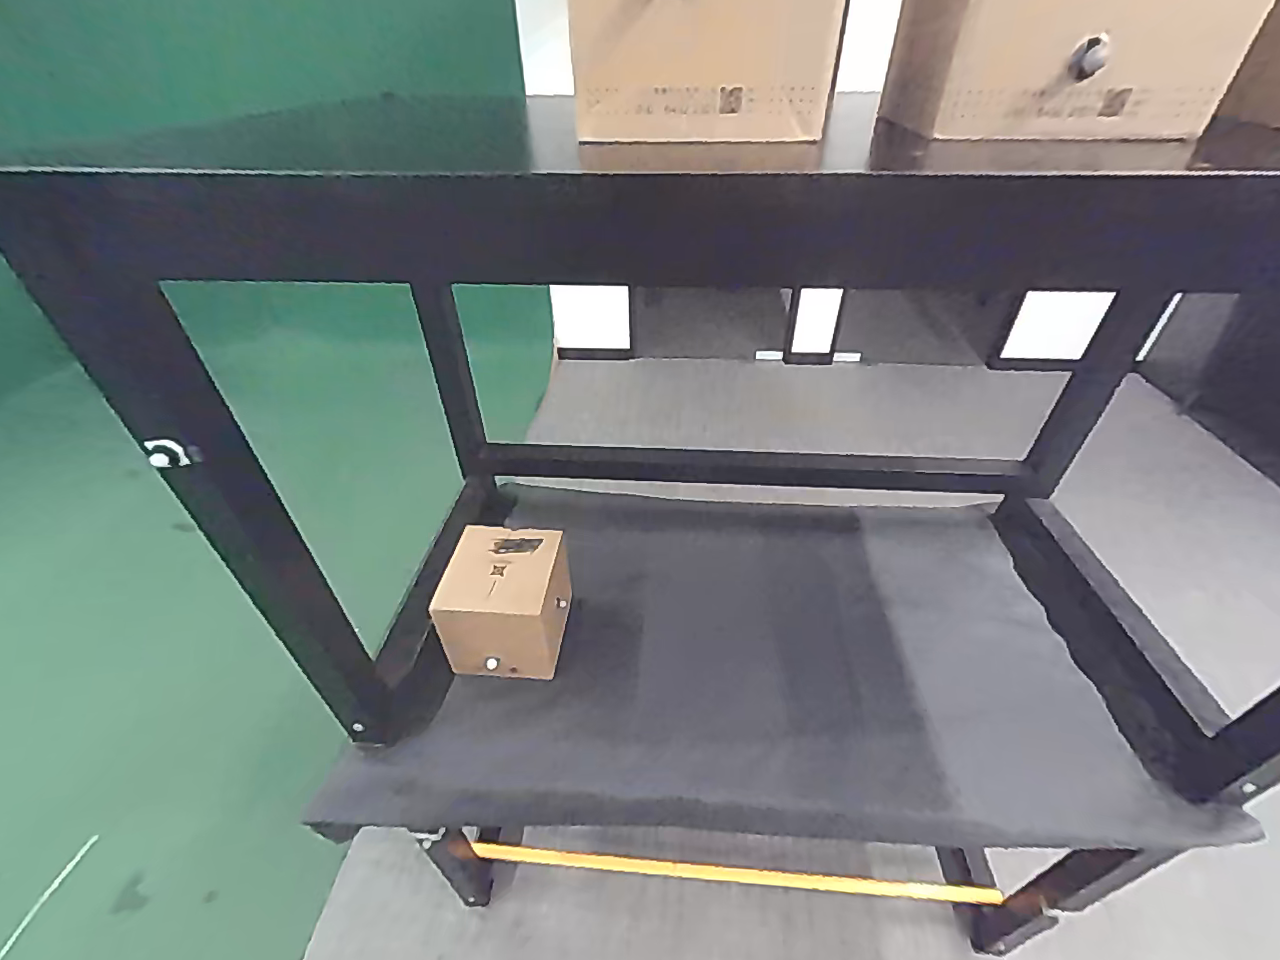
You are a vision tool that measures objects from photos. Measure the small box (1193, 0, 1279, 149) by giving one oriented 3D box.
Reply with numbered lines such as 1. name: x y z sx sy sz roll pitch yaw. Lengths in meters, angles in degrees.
1. small box: 0.526 -0.305 0.338 0.168 0.176 0.179 10 39 13

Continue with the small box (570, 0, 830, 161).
1. small box: 0.044 -0.341 0.399 0.168 0.176 0.179 3 38 4

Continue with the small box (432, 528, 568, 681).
1. small box: -0.215 0.202 0.889 0.168 0.176 0.179 2 38 4
